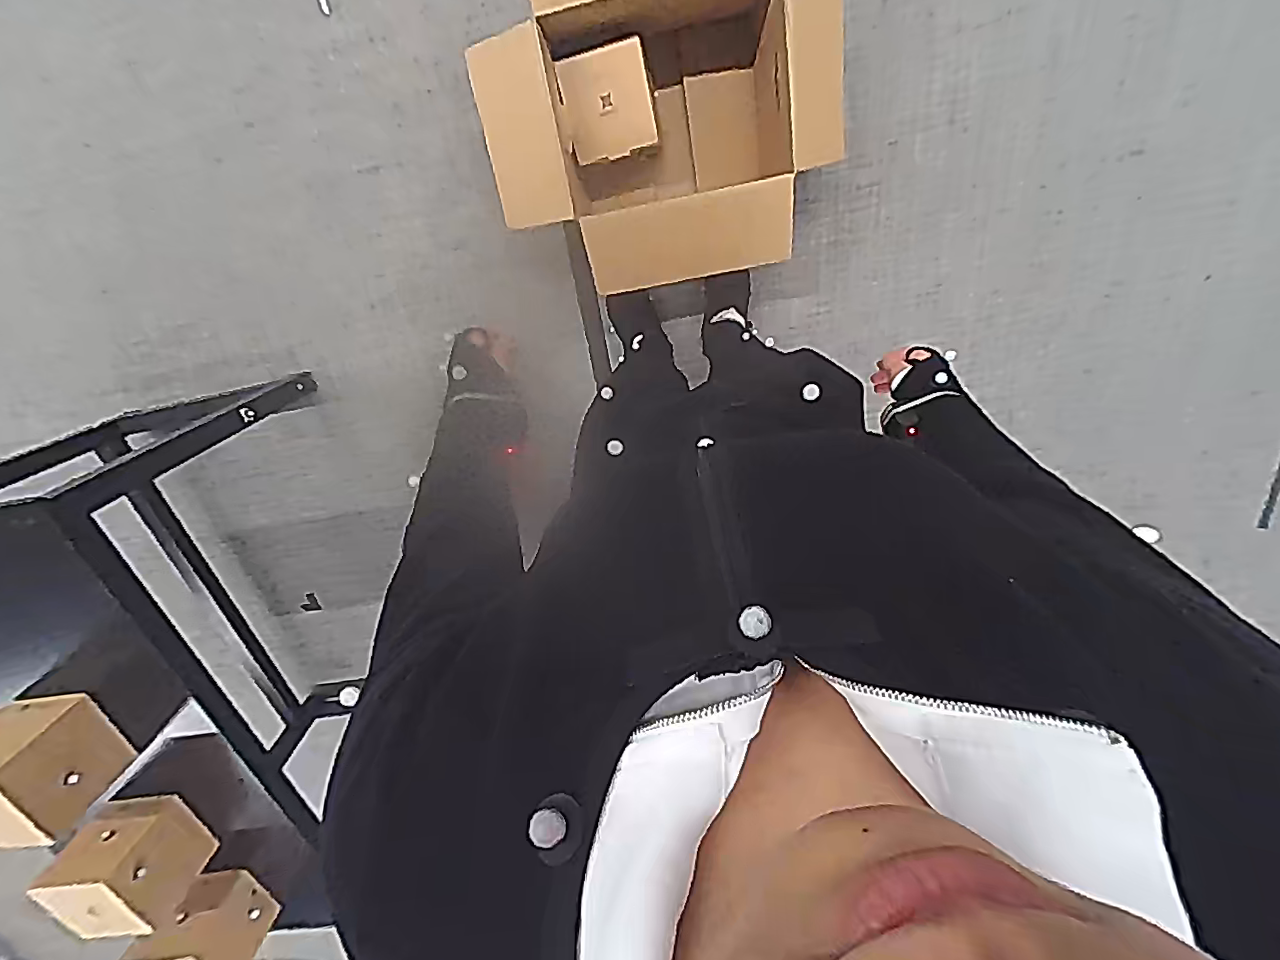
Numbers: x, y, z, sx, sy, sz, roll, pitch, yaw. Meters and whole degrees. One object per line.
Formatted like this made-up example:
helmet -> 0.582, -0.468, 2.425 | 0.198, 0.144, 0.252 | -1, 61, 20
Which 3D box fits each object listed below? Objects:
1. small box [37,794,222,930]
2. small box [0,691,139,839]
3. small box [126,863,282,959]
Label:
small box -> -1.015, 0.764, 1.095 | 0.168, 0.176, 0.179 | -9, 116, 7
small box -> -1.073, 0.506, 0.967 | 0.168, 0.176, 0.179 | -8, 117, 6
small box -> -0.962, 0.997, 1.212 | 0.179, 0.176, 0.168 | -11, 116, 6
